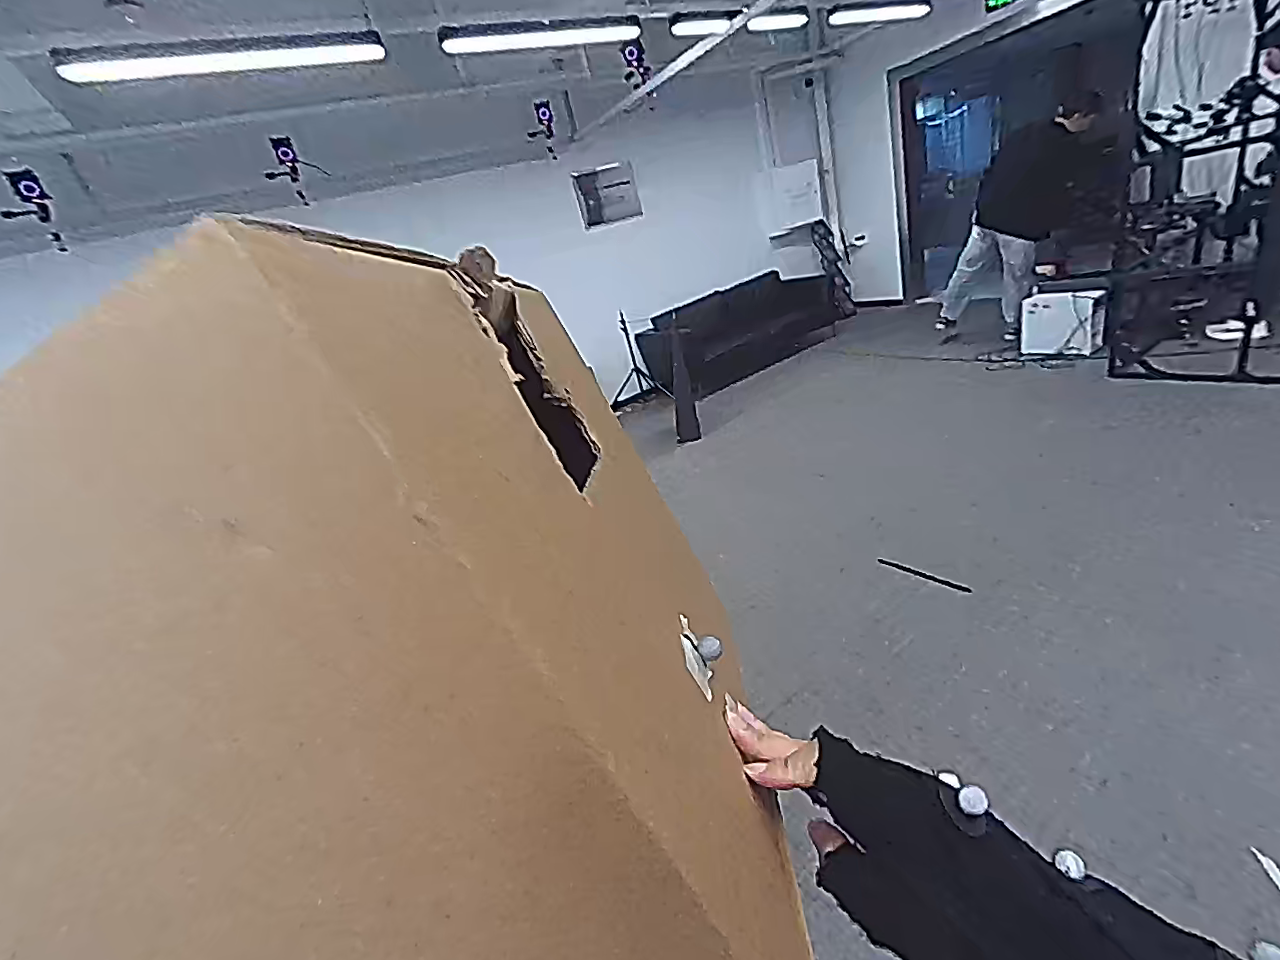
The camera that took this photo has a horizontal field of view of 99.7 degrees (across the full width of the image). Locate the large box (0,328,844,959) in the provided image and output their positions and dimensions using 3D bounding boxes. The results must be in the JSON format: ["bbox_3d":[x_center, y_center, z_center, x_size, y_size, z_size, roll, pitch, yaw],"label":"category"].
[{"bbox_3d":[-0.157,0.144,0.344,0.408,0.320,0.320,-29,13,9],"label":"large box"}]
